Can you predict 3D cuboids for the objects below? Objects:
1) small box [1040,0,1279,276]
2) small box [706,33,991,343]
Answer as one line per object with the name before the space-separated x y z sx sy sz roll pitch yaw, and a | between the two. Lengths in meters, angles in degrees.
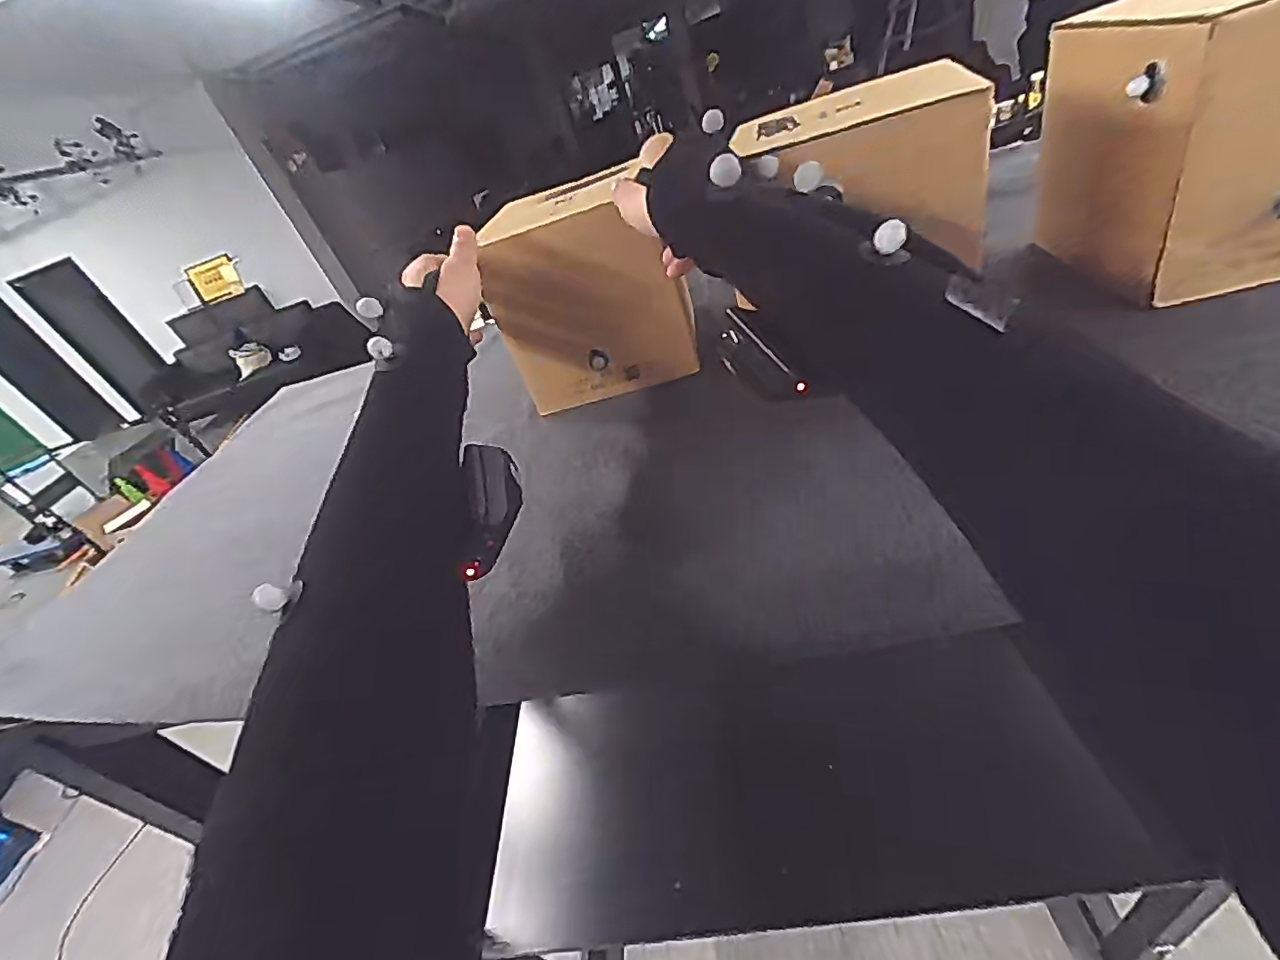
small box | 0.404 -0.260 0.361 0.168 0.176 0.179 -12 37 15
small box | 0.169 -0.230 0.446 0.179 0.176 0.168 -4 40 23
